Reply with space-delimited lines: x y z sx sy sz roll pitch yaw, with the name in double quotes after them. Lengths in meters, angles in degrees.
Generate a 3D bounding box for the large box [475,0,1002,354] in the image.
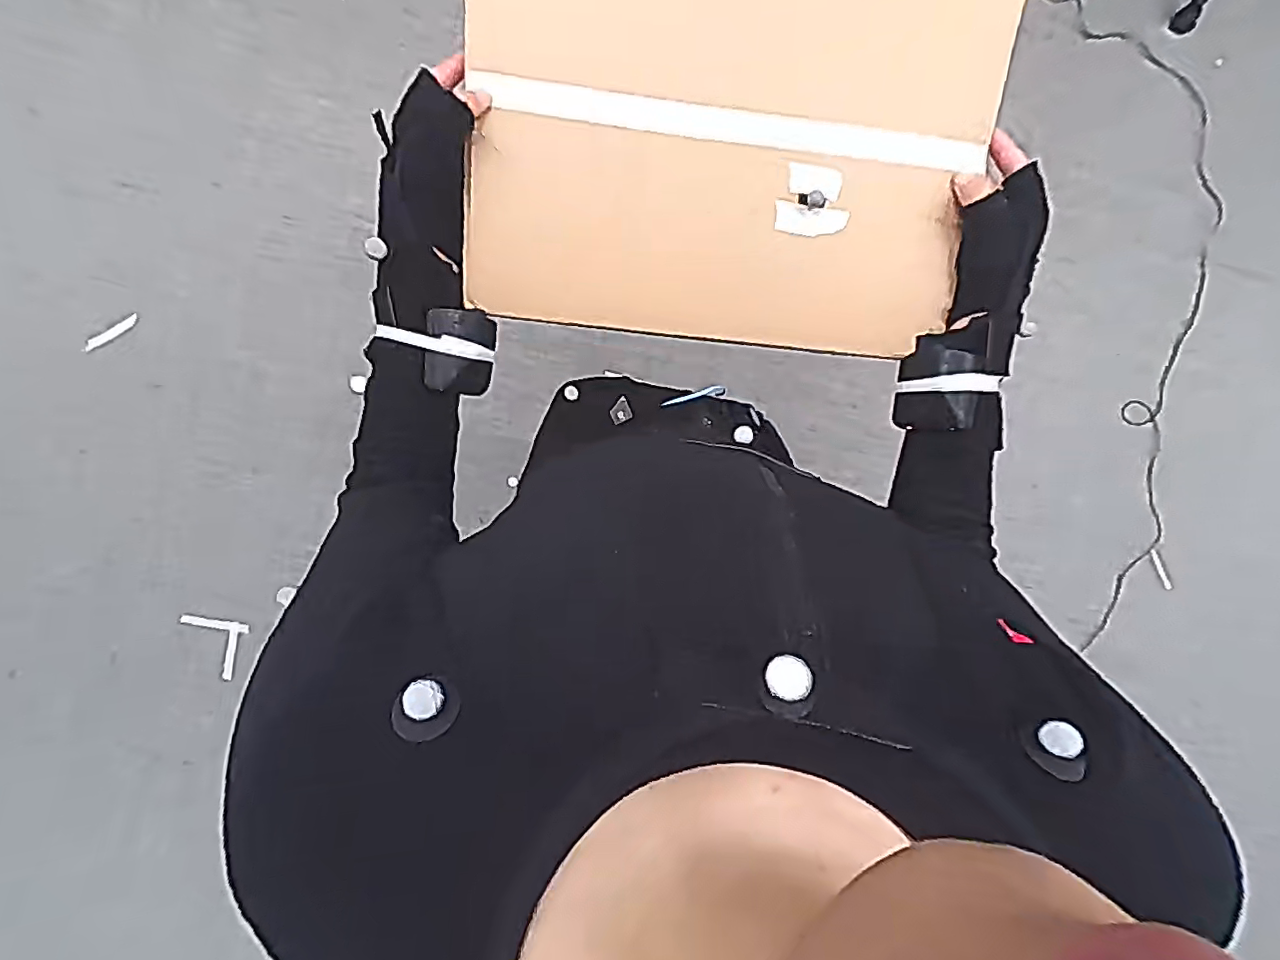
0.058 -0.313 0.570 0.408 0.320 0.320 4 107 -7 "large box"
